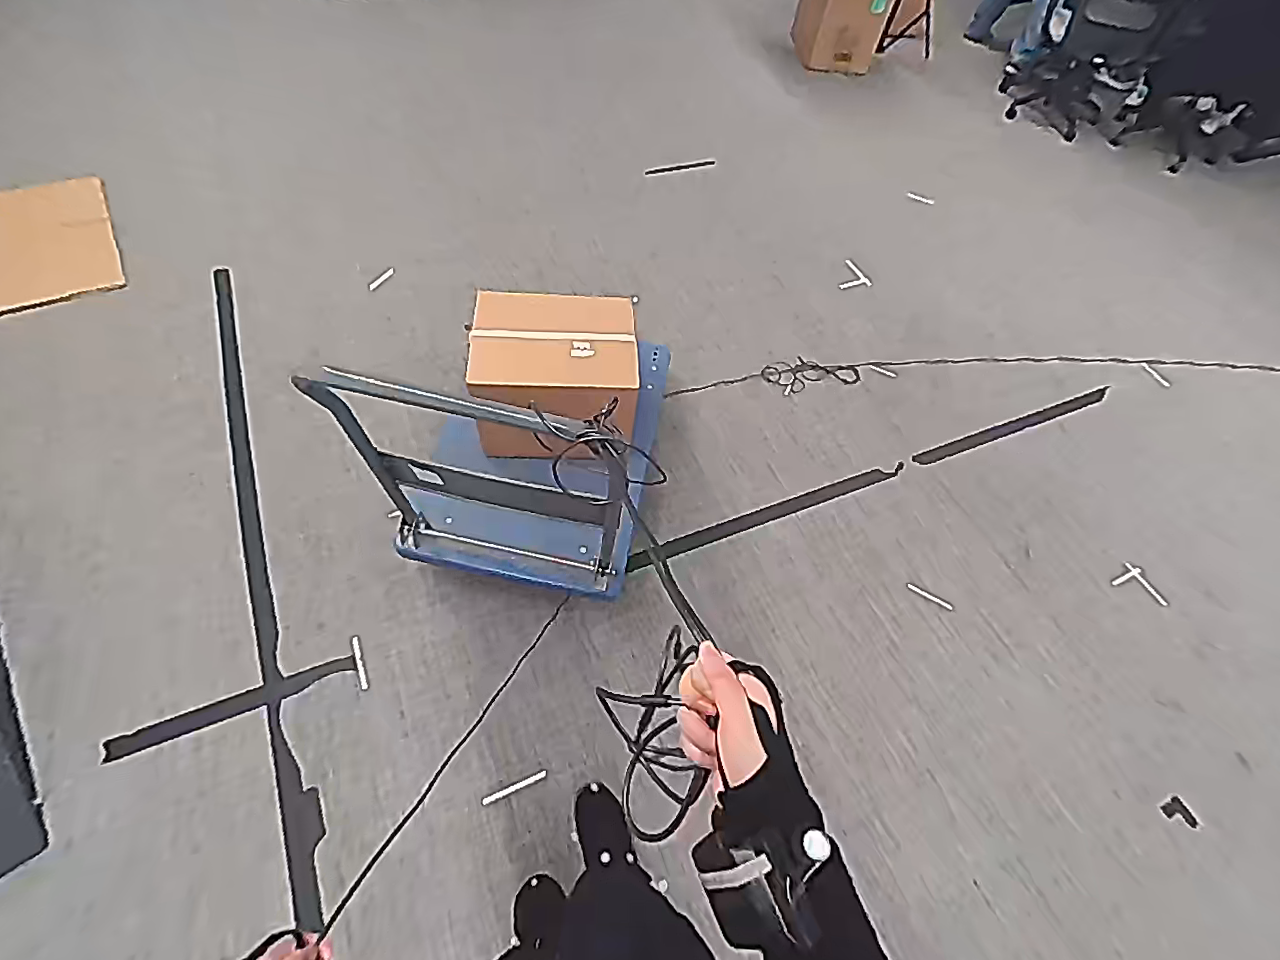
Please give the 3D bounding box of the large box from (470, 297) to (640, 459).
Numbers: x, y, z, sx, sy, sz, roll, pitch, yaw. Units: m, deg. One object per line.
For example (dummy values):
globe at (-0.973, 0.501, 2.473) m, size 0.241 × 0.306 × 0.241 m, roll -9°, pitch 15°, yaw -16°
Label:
large box at (-0.224, -0.264, 1.463) m, size 0.408 × 0.320 × 0.320 m, roll 1°, pitch 59°, yaw -8°
